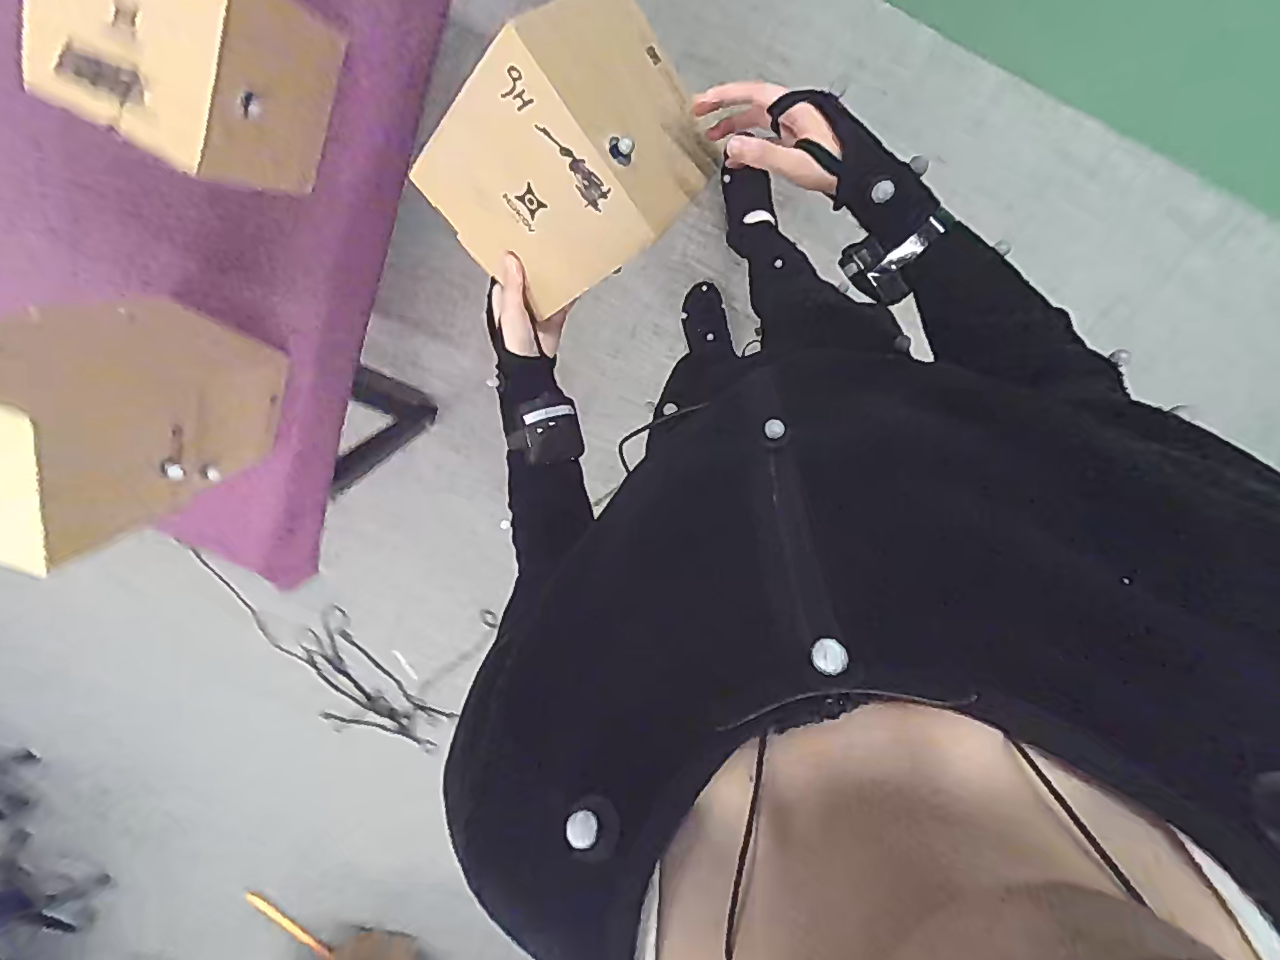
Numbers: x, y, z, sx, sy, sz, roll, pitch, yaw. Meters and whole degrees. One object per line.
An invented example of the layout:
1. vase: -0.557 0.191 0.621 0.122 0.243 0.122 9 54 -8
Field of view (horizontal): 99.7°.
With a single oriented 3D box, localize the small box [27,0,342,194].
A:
1. small box: -0.434 -0.413 0.538 0.168 0.176 0.179 27 111 -7
